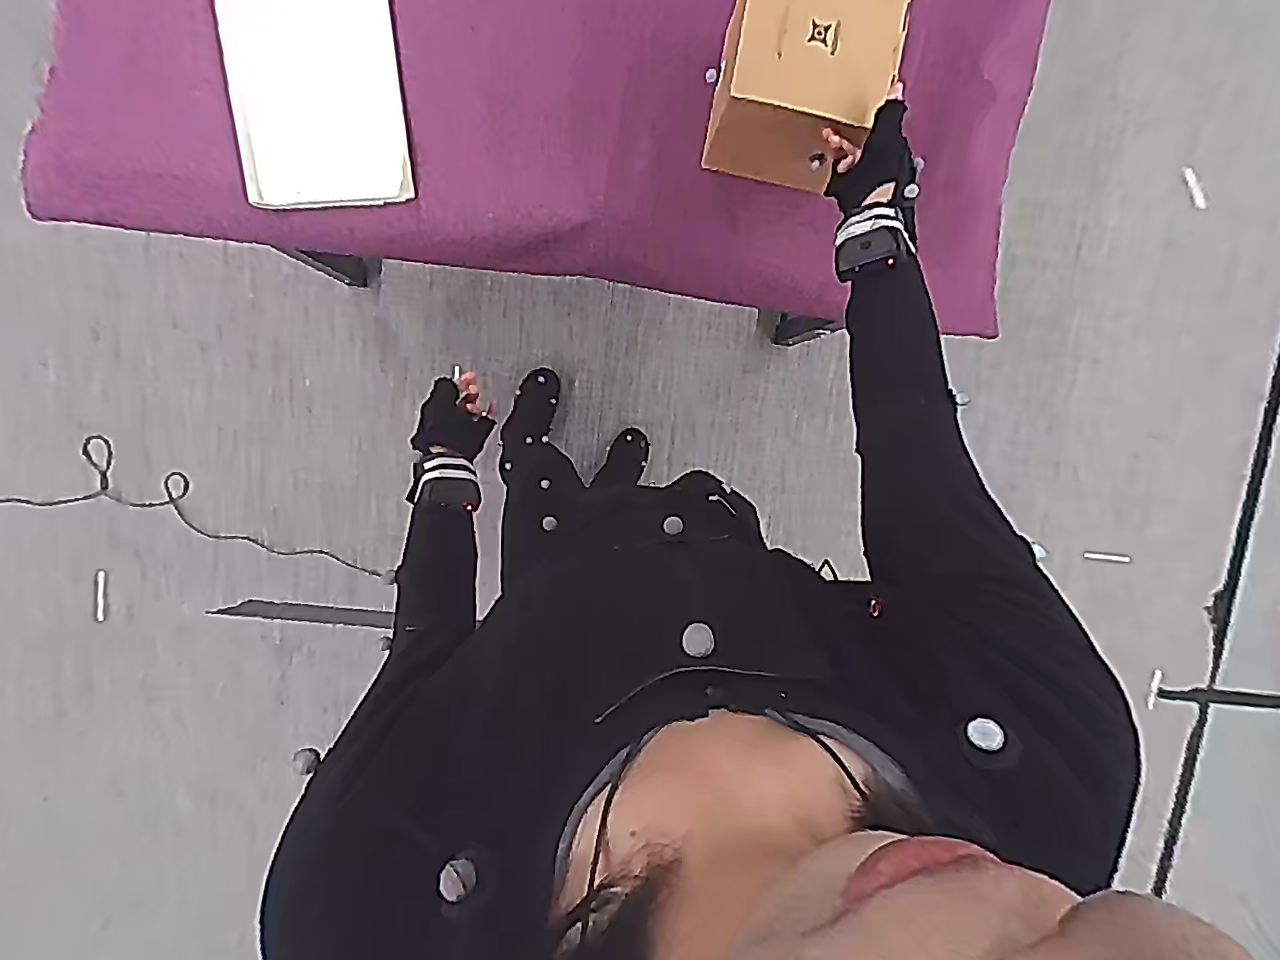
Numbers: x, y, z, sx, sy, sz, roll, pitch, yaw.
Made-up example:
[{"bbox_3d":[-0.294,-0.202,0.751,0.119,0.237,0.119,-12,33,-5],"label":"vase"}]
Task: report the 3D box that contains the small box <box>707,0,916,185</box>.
[{"bbox_3d":[0.190,-0.479,0.641,0.179,0.176,0.168,9,94,-4],"label":"small box"}]
